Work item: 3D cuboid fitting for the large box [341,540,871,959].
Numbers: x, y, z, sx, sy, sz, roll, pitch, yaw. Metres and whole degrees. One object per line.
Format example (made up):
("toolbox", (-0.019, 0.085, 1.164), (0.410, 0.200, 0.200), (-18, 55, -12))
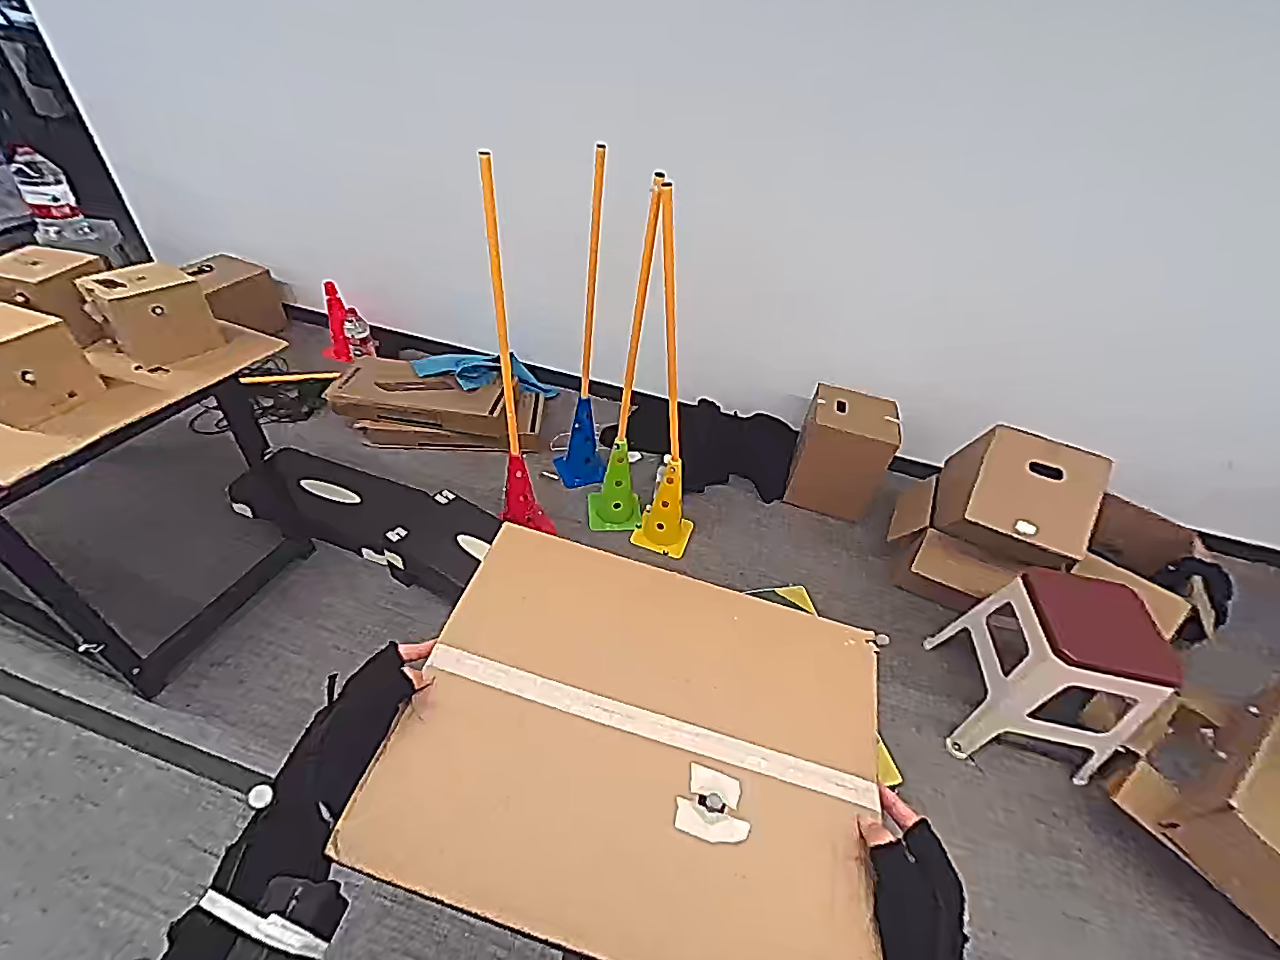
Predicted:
("large box", (-0.014, 0.321, 0.589), (0.408, 0.320, 0.320), (17, 50, 5))
